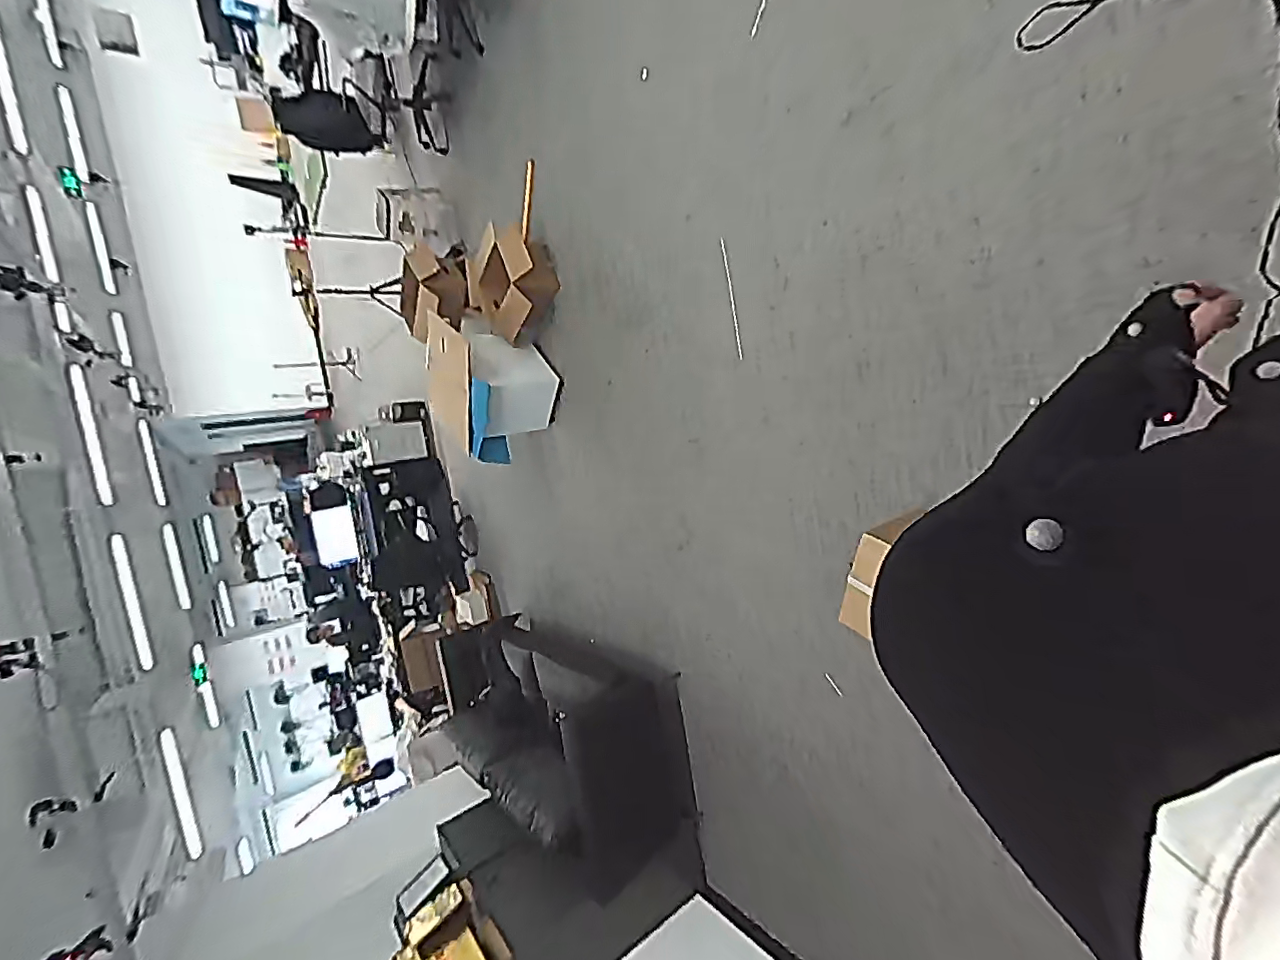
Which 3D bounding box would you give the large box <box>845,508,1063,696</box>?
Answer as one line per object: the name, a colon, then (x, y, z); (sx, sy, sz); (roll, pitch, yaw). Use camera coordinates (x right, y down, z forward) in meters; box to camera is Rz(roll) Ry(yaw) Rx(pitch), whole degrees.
large box: (0.872, 0.315, 1.536); (0.408, 0.320, 0.320); (30, 125, 44)
